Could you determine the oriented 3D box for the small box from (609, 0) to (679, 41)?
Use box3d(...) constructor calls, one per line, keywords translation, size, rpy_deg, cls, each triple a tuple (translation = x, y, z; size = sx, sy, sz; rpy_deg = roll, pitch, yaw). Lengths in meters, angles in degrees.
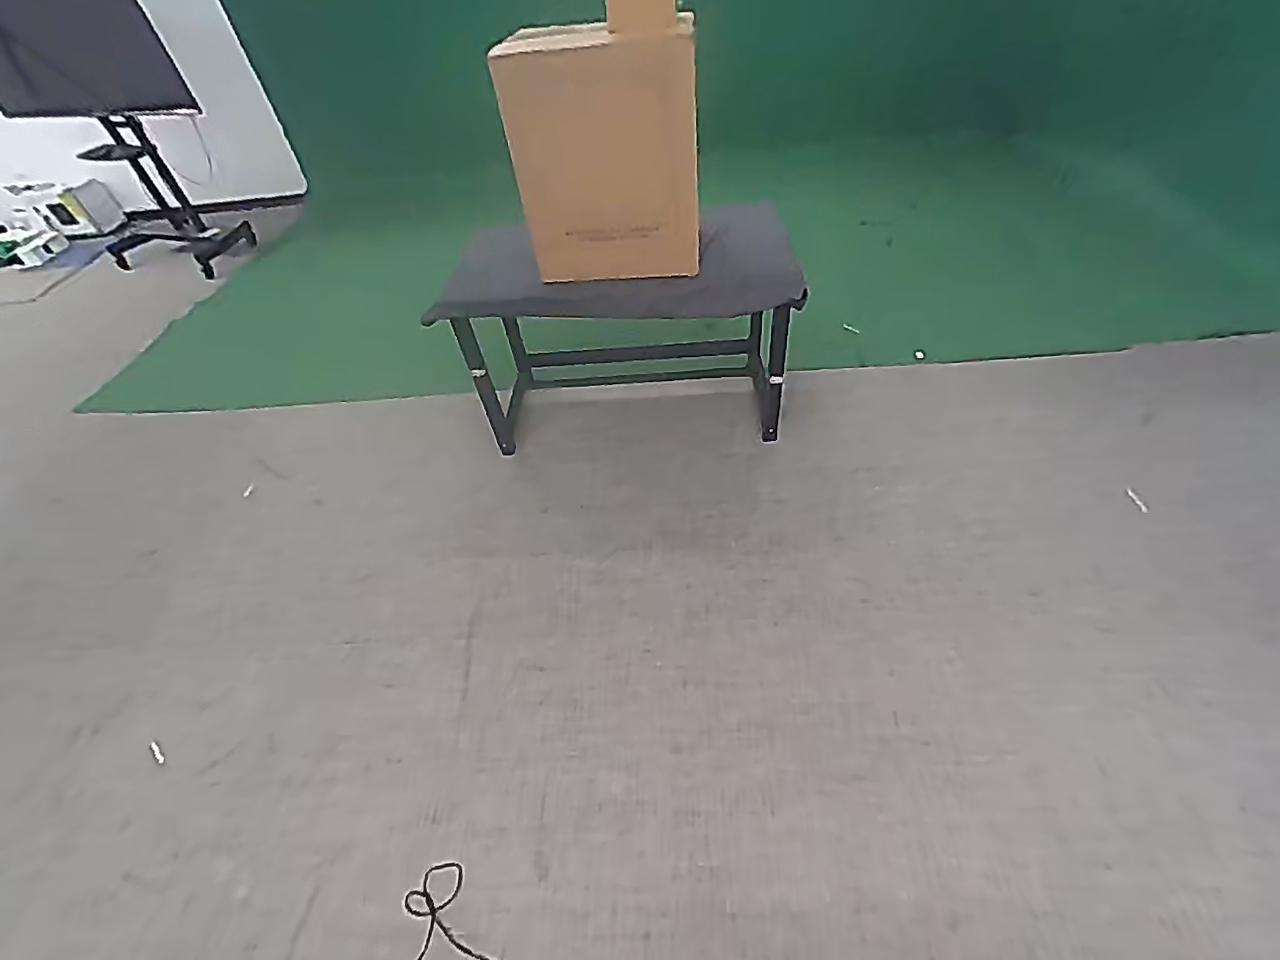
box3d(translation=(0.012, -1.270, 1.412), size=(0.179, 0.176, 0.168), rpy_deg=(1, 49, 5), cls="small box")
